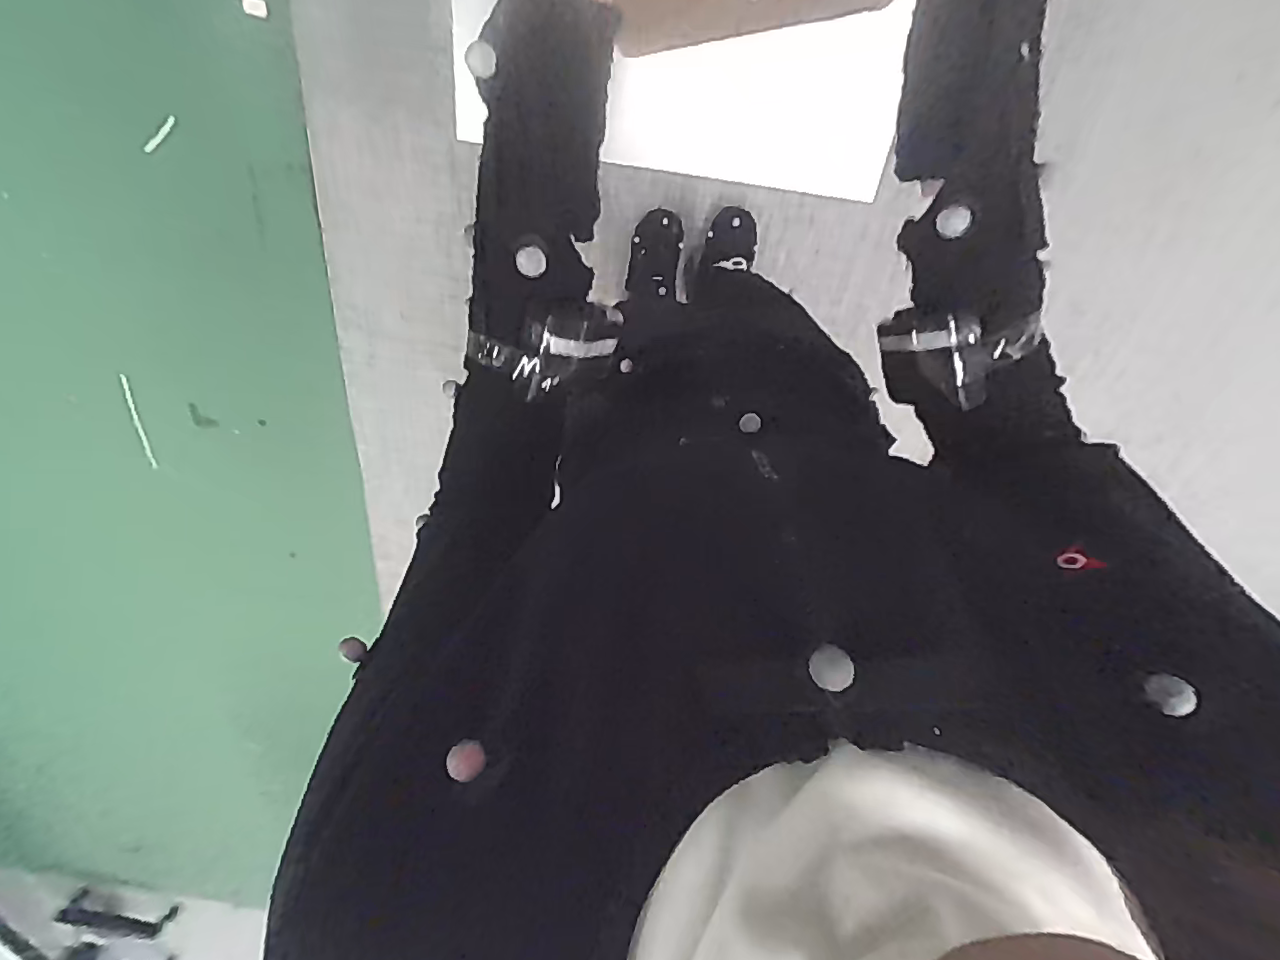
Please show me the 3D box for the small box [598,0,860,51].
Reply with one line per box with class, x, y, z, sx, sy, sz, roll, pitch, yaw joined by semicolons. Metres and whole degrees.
small box;0.049;-0.337;0.257;0.179;0.176;0.168;-4;116;9
